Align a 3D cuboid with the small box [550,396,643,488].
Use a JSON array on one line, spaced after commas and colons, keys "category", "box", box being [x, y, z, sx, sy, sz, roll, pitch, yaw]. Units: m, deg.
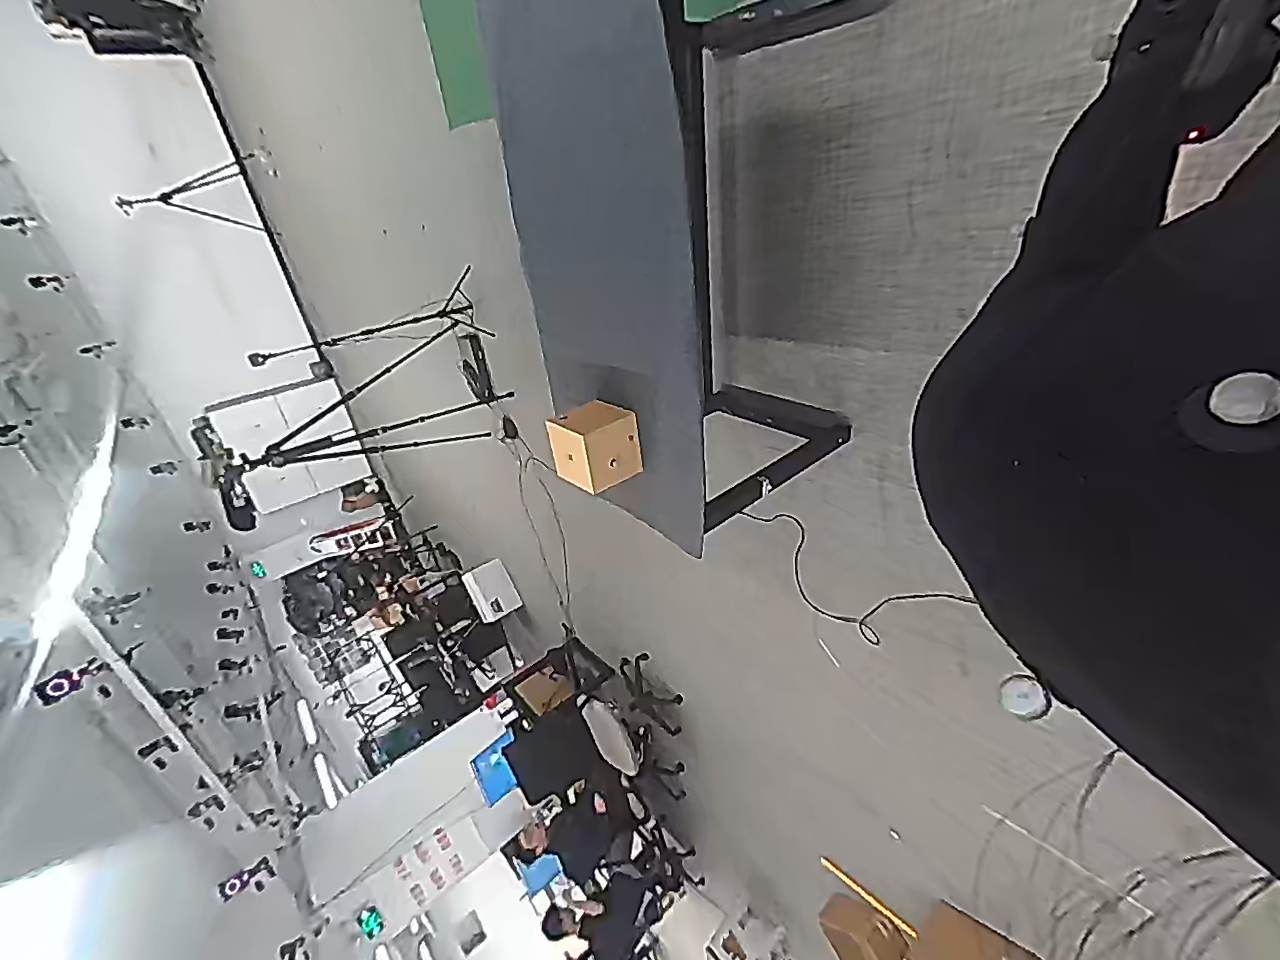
[{"category": "small box", "box": [-0.104, -0.106, 1.406, 0.179, 0.176, 0.168, 25, 134, 46]}]
